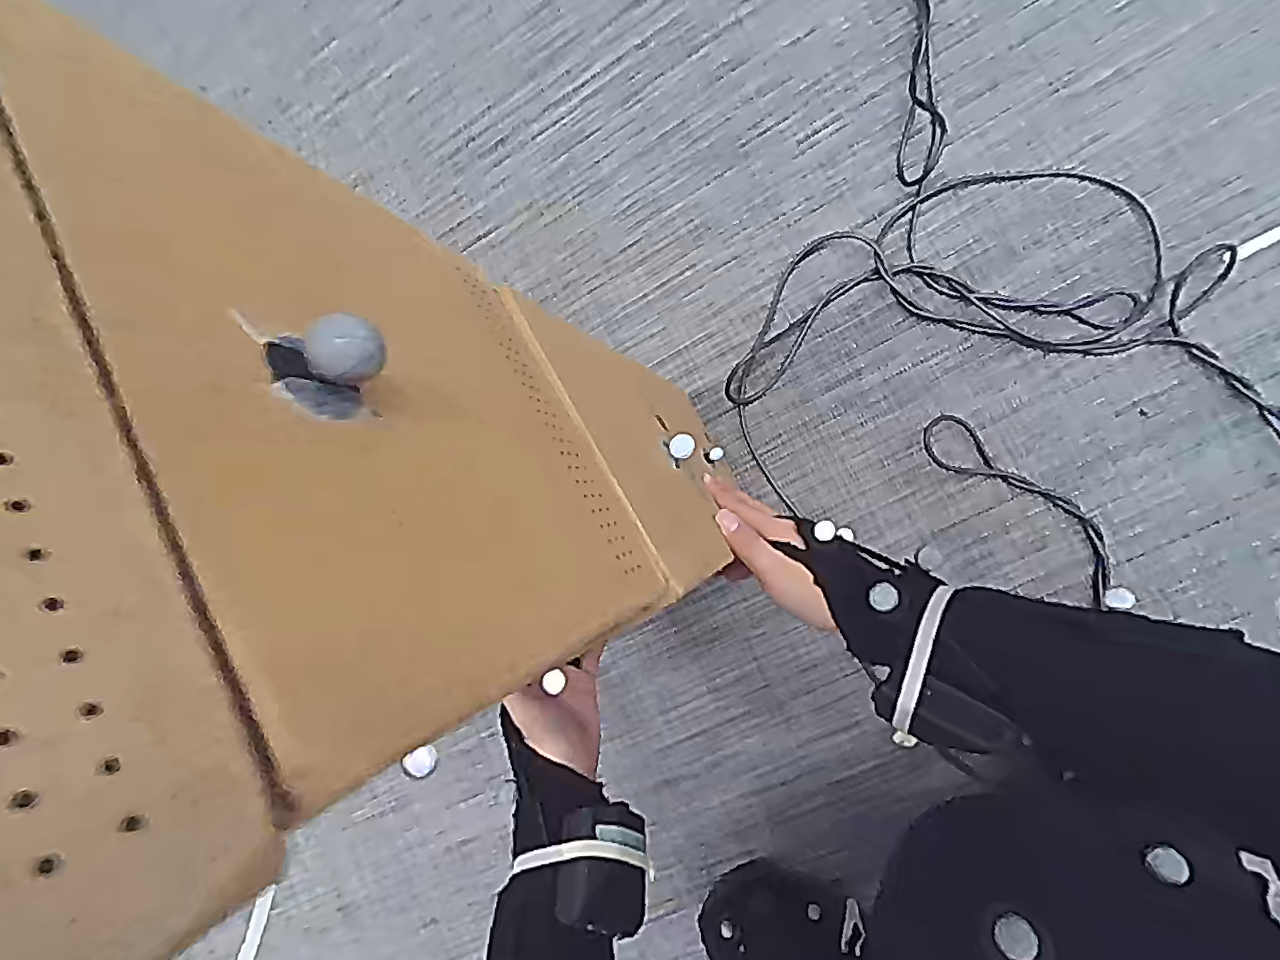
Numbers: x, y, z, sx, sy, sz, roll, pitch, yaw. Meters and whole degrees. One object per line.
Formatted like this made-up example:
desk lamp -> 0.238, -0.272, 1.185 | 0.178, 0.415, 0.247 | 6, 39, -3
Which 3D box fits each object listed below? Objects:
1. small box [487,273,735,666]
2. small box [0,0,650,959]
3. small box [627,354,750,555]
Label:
small box -> -0.063, 0.020, 0.327 | 0.179, 0.176, 0.168 | -32, 80, 15
small box -> -0.123, 0.010, 0.176 | 0.168, 0.176, 0.179 | -34, 80, 16
small box -> -0.015, 0.017, 0.483 | 0.179, 0.176, 0.168 | -30, 79, 17
